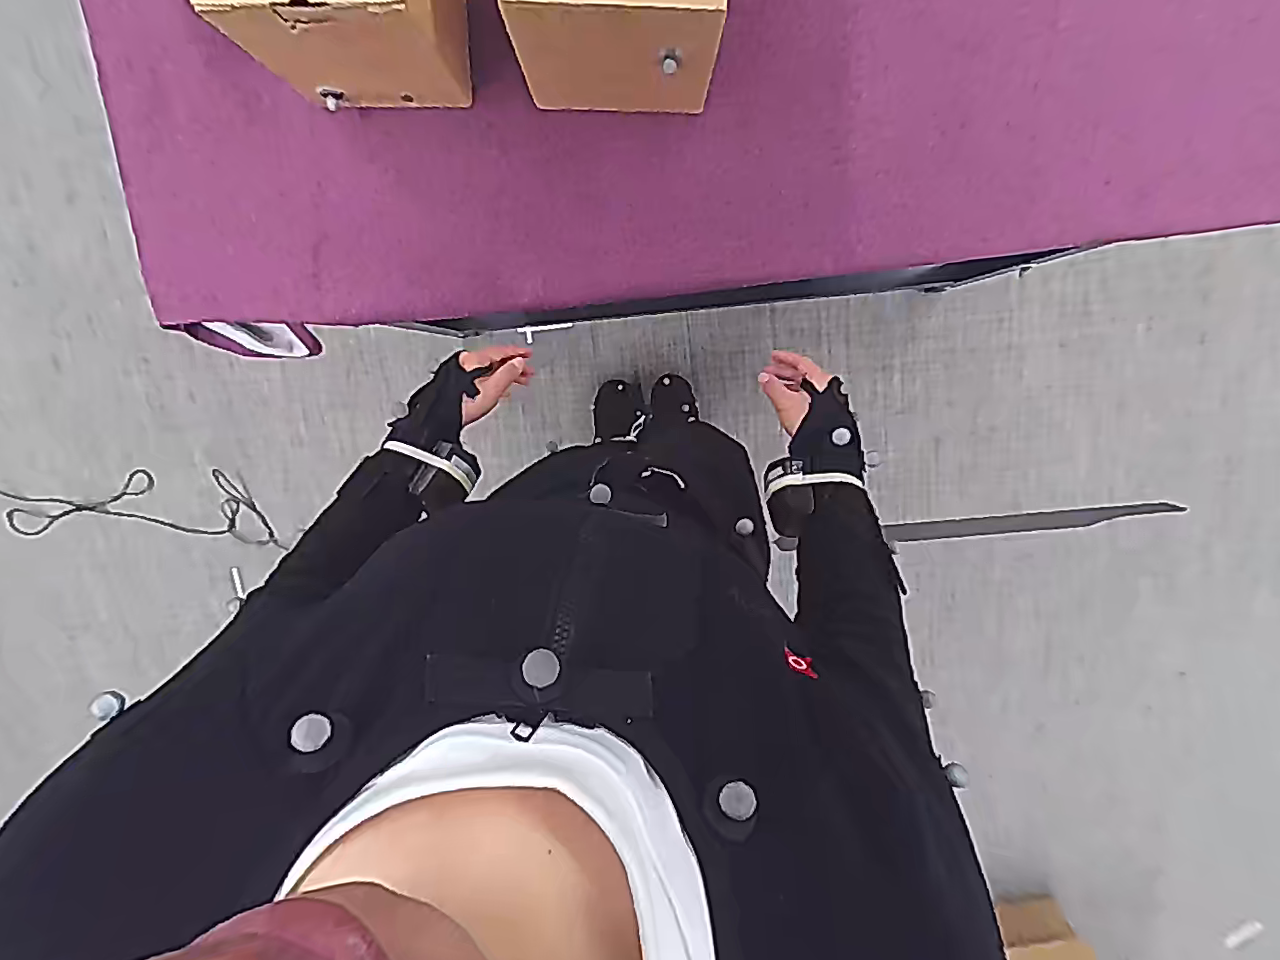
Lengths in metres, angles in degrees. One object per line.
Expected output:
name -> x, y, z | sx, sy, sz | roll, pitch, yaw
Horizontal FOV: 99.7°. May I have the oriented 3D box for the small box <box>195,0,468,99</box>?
small box -> -0.256, -0.461, 0.468 | 0.168, 0.176, 0.179 | 0, 102, -1
